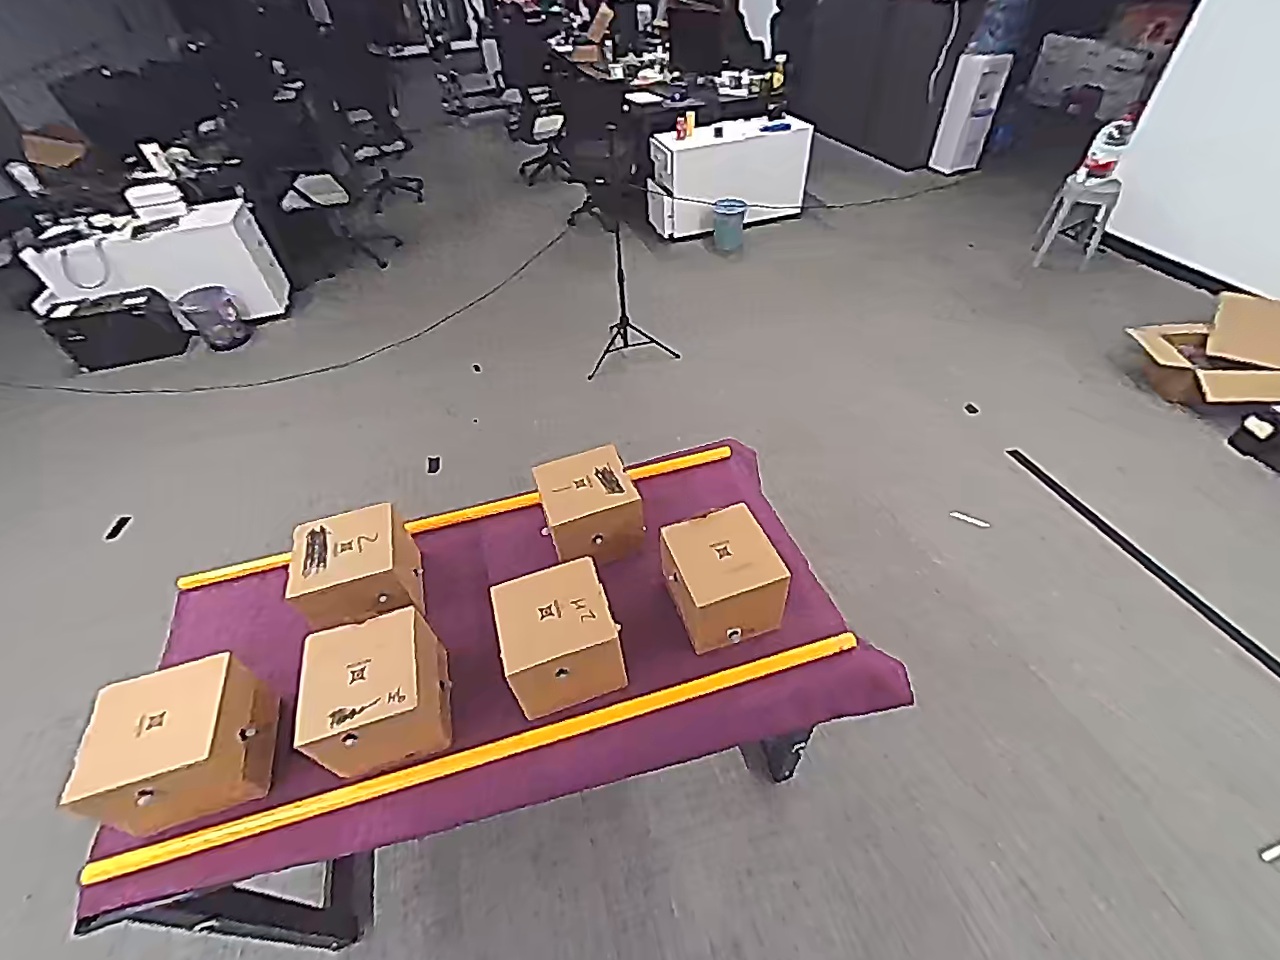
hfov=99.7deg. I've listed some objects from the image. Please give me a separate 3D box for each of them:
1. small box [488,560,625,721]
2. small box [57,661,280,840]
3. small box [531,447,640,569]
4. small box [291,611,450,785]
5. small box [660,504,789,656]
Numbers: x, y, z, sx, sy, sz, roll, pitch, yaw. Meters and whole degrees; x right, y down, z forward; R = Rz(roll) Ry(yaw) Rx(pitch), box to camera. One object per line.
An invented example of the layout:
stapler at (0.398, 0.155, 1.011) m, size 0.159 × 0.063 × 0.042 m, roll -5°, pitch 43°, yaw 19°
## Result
small box at (-0.136, 0.268, 0.896) m, size 0.179 × 0.176 × 0.168 m, roll -16°, pitch 45°, yaw -11°
small box at (-0.678, 0.405, 0.810) m, size 0.179 × 0.176 × 0.168 m, roll -16°, pitch 46°, yaw -11°
small box at (-0.105, 0.065, 1.091) m, size 0.179 × 0.176 × 0.168 m, roll -18°, pitch 48°, yaw -11°
small box at (-0.409, 0.342, 0.850) m, size 0.168 × 0.176 × 0.179 m, roll -16°, pitch 46°, yaw -9°
small box at (0.142, 0.177, 0.959) m, size 0.168 × 0.176 × 0.179 m, roll -17°, pitch 45°, yaw -9°
